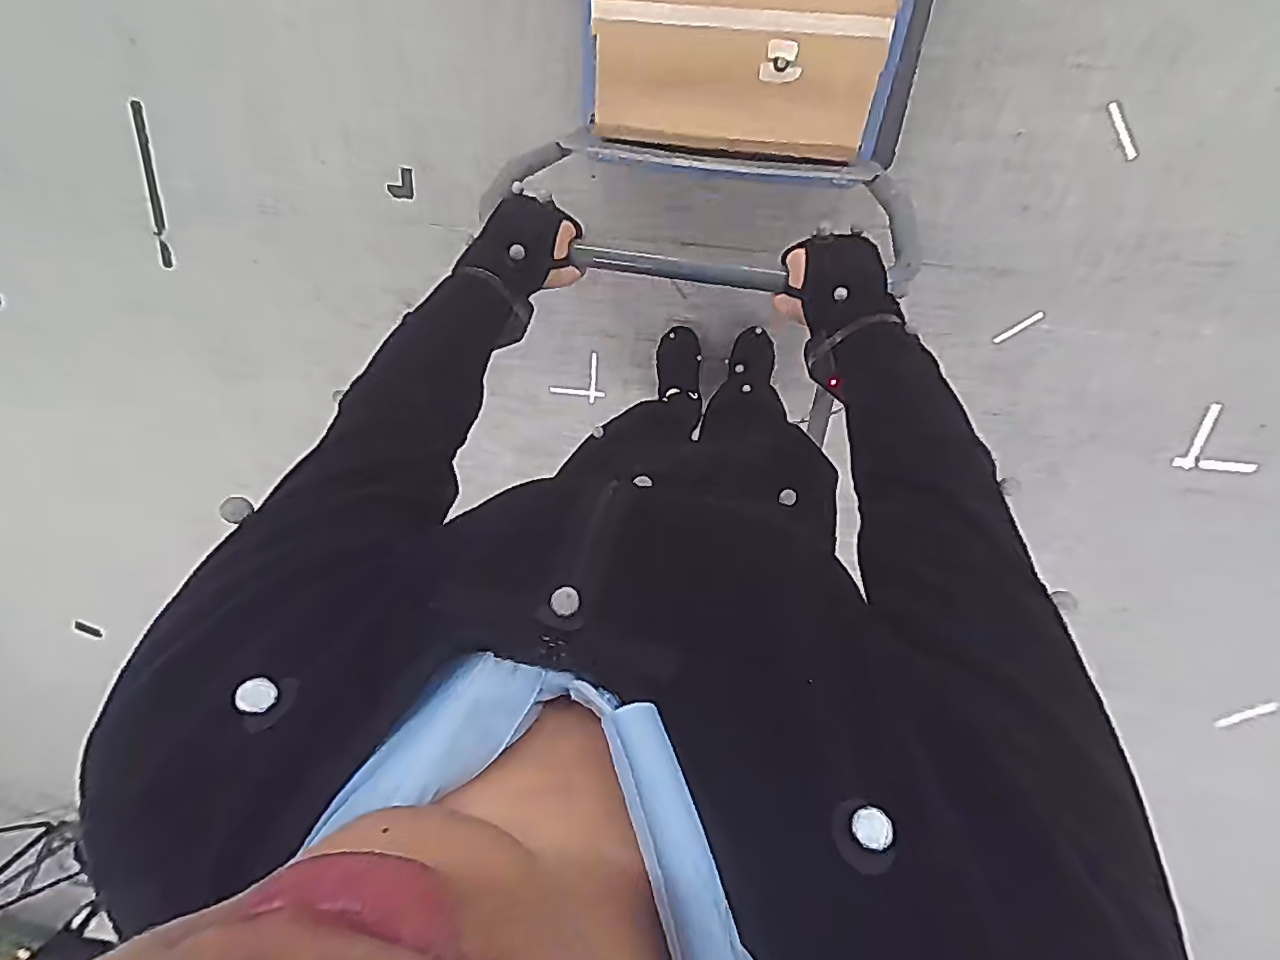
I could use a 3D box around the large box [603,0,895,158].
[{"bbox_3d":[0.166,-0.725,0.879,0.408,0.320,0.320,9,126,5],"label":"large box"}]
